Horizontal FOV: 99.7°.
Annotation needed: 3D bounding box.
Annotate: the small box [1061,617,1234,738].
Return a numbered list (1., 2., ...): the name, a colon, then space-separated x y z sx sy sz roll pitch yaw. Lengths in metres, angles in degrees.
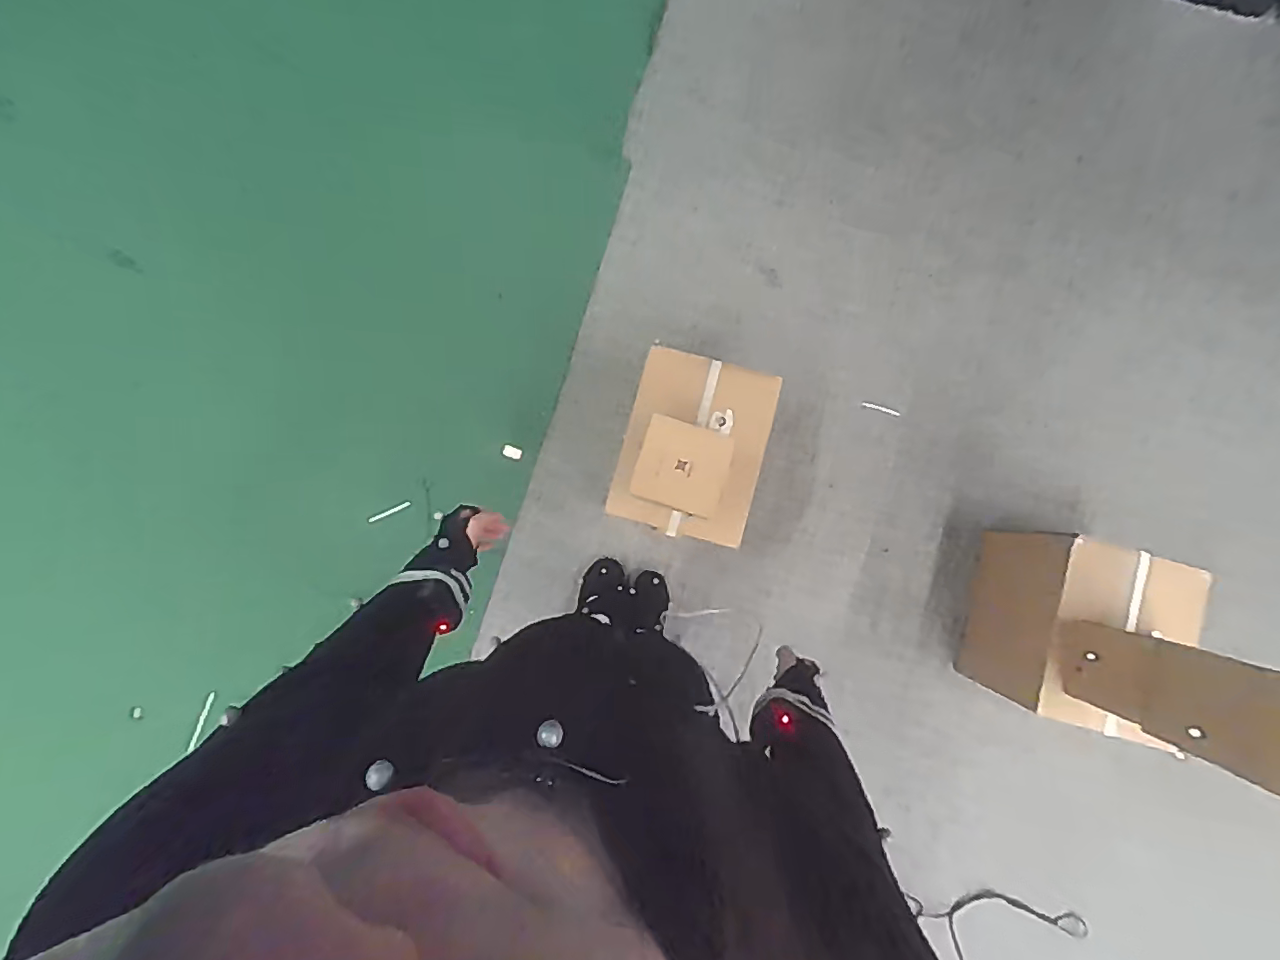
1. small box: 1.019 0.391 1.099 0.179 0.176 0.168 14 88 2

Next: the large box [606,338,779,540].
1. large box: 0.121 -0.083 1.359 0.320 0.320 0.408 16 87 1

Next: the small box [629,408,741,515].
1. small box: 0.089 -0.033 1.111 0.179 0.176 0.168 18 87 3

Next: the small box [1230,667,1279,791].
1. small box: 1.019 0.390 0.770 0.168 0.176 0.179 17 89 2
